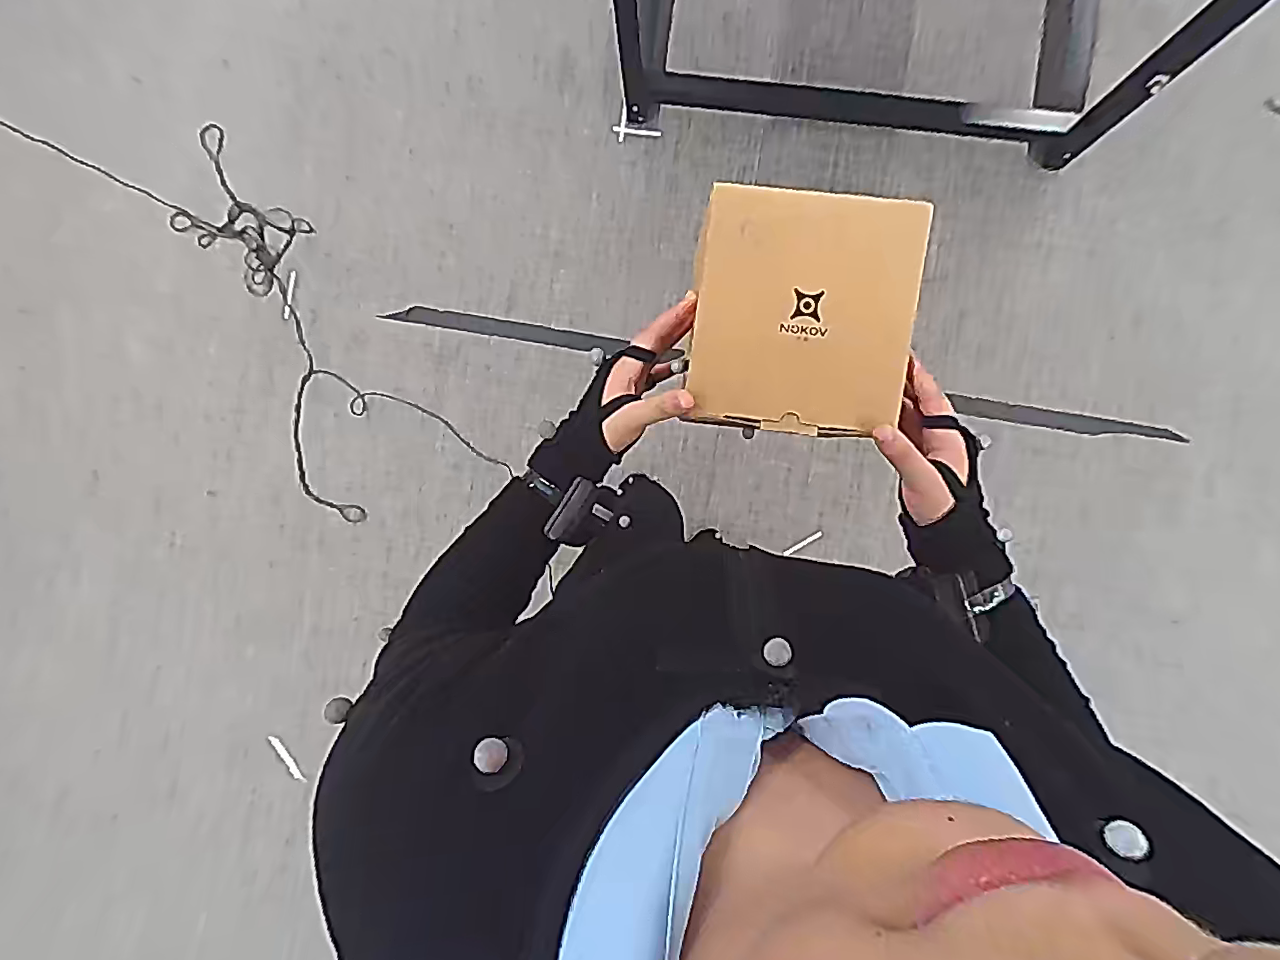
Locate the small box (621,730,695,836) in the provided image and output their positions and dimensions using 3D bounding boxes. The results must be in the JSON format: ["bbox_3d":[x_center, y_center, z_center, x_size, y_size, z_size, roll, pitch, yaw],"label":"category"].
[{"bbox_3d":[0.046,0.757,1.370,0.168,0.176,0.179,4,90,3],"label":"small box"}]
